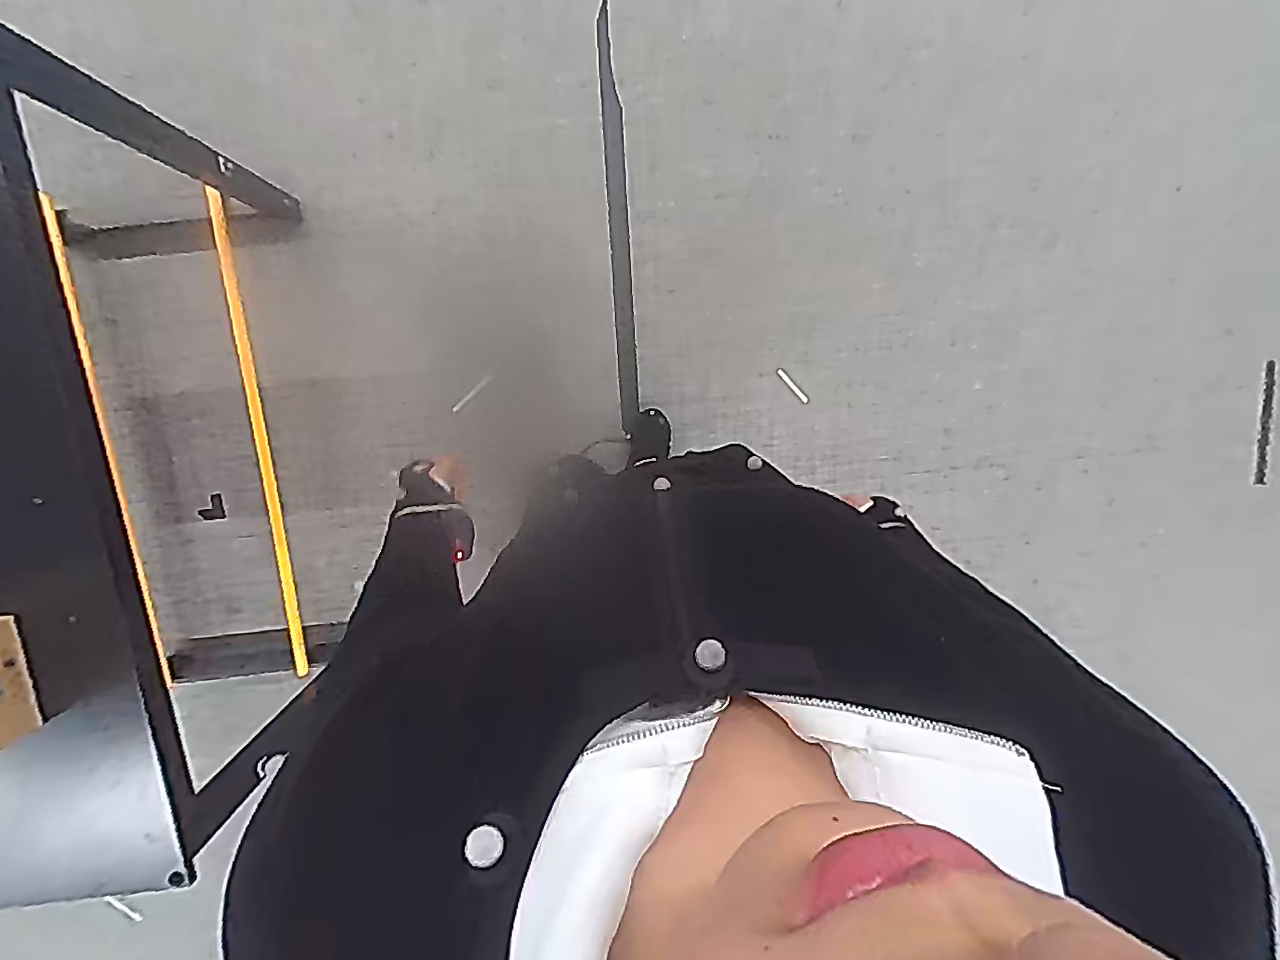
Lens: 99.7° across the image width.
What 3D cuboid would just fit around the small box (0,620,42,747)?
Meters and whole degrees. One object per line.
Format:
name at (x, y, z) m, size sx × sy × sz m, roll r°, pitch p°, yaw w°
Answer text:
small box at (-0.918, 0.285, 0.660) m, size 0.179 × 0.176 × 0.168 m, roll -4°, pitch 100°, yaw -3°
